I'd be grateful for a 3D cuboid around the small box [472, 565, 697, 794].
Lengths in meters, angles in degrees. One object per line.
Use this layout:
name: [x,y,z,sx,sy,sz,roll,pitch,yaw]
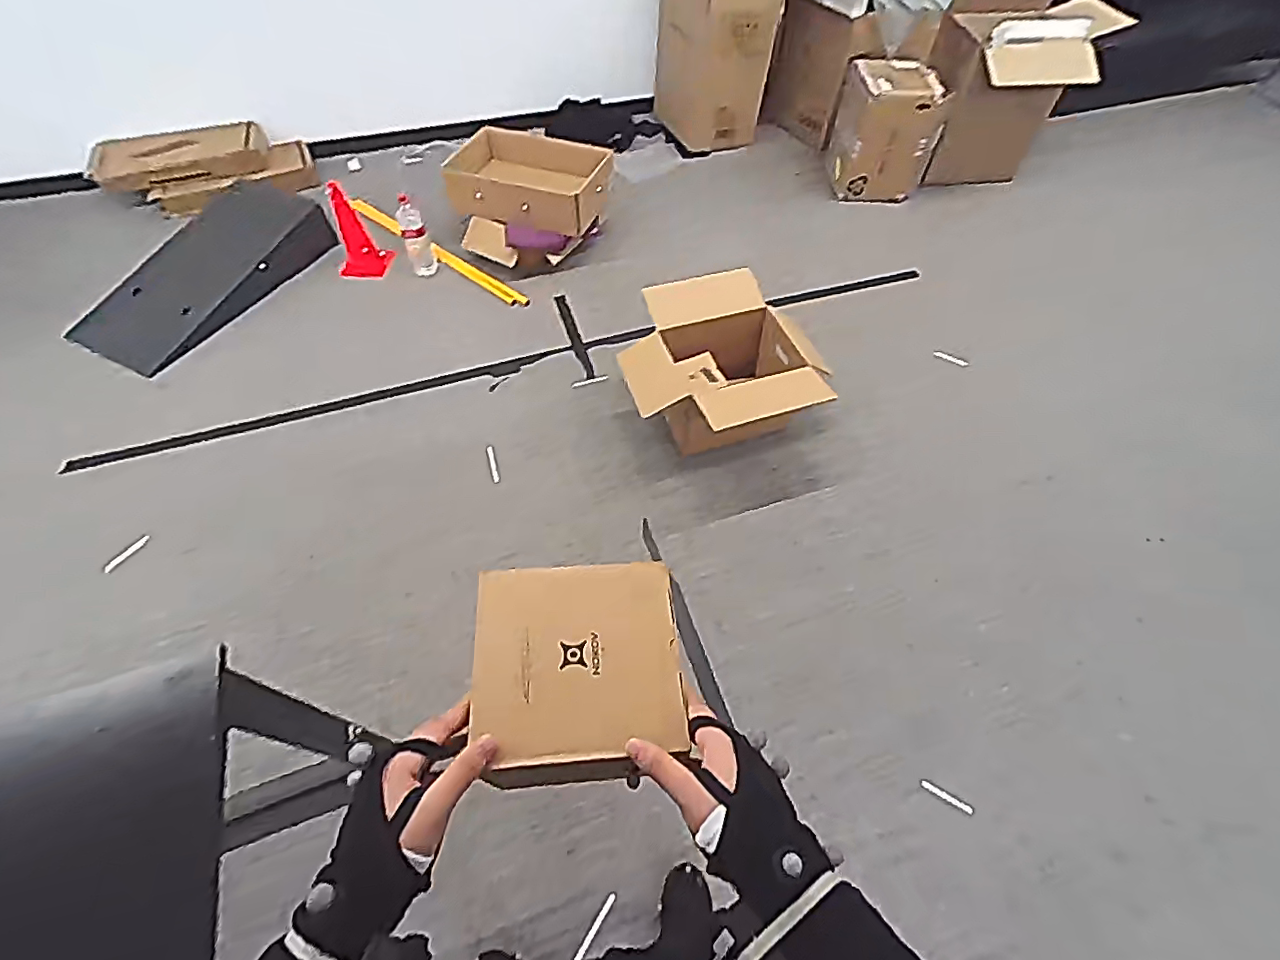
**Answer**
small box: [-0.053,0.197,0.525,0.179,0.176,0.168,-4,55,-6]
